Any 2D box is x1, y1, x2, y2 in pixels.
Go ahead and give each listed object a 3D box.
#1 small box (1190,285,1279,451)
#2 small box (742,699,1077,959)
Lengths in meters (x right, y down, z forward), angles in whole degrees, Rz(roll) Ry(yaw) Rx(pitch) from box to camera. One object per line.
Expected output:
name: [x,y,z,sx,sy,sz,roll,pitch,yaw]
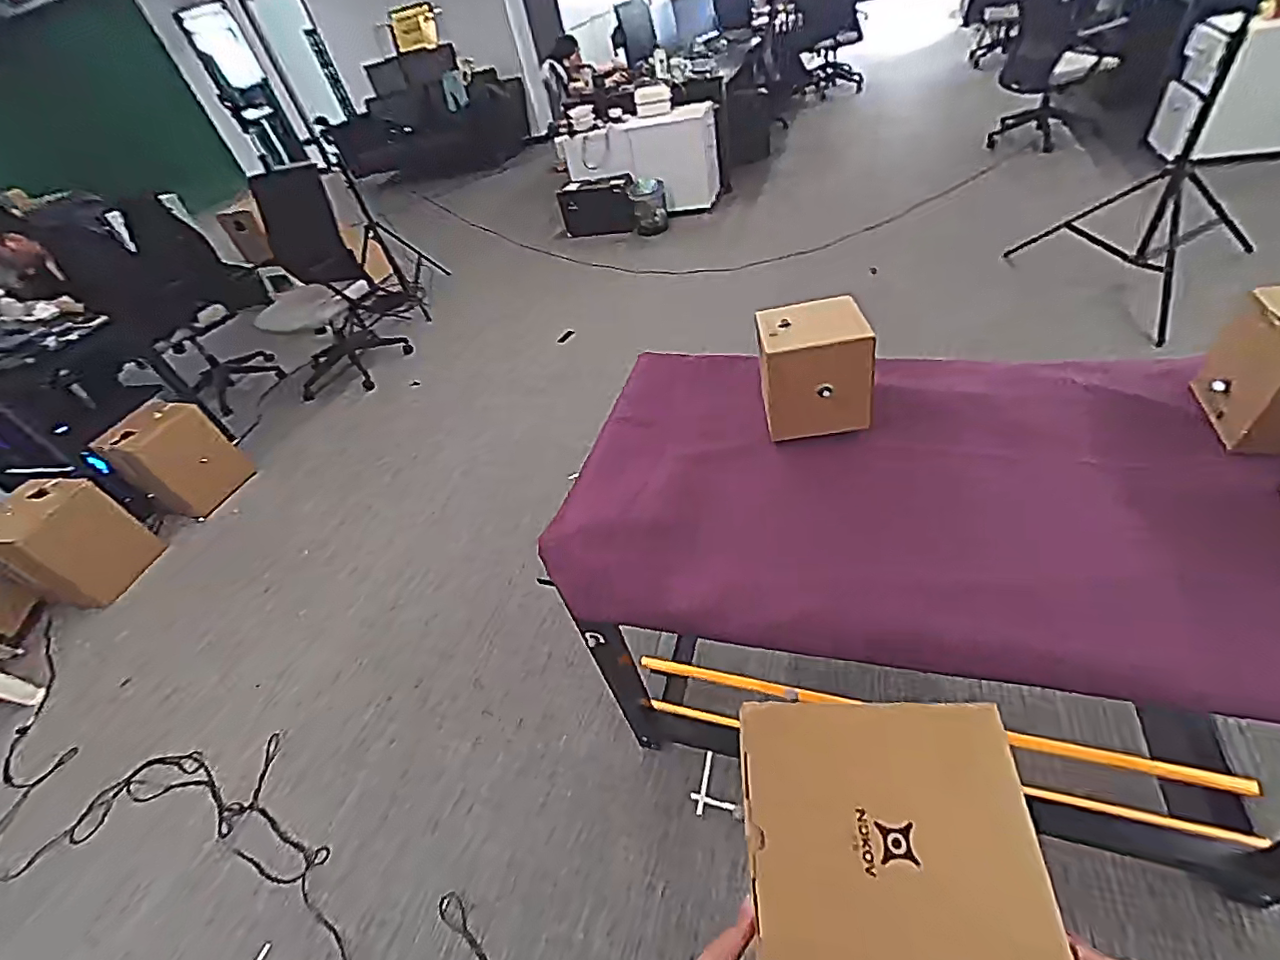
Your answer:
small box: [0.925,-0.149,0.737,0.179,0.176,0.168,4,47,20]
small box: [0.170,0.266,0.407,0.179,0.176,0.168,-4,57,9]
